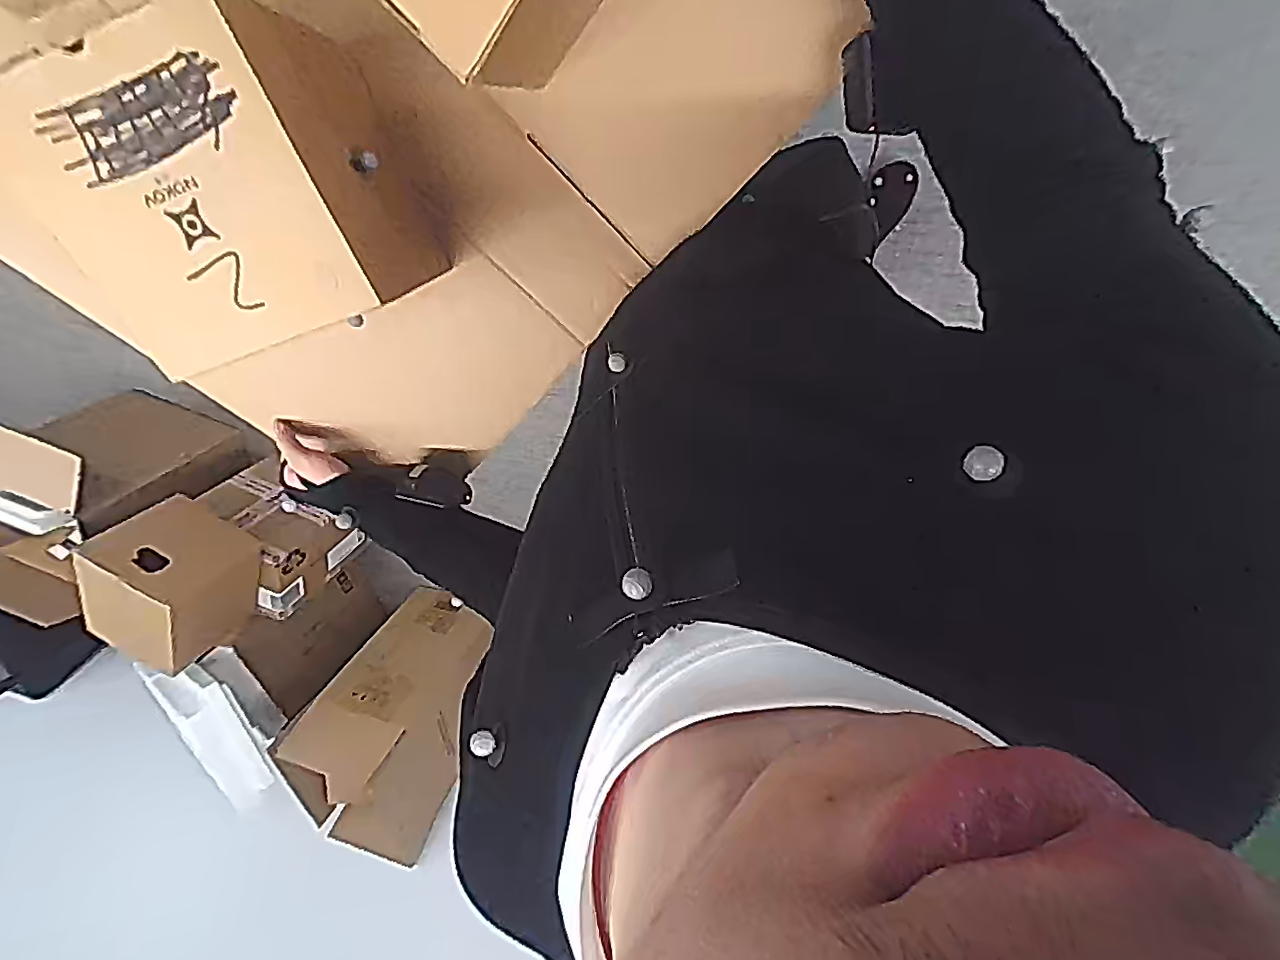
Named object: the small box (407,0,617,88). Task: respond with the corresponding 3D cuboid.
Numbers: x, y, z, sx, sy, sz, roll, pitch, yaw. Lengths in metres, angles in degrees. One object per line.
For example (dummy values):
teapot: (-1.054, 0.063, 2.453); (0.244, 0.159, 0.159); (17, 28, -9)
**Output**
small box: (-0.077, -0.368, 0.308); (0.168, 0.176, 0.179); (41, 120, -20)
